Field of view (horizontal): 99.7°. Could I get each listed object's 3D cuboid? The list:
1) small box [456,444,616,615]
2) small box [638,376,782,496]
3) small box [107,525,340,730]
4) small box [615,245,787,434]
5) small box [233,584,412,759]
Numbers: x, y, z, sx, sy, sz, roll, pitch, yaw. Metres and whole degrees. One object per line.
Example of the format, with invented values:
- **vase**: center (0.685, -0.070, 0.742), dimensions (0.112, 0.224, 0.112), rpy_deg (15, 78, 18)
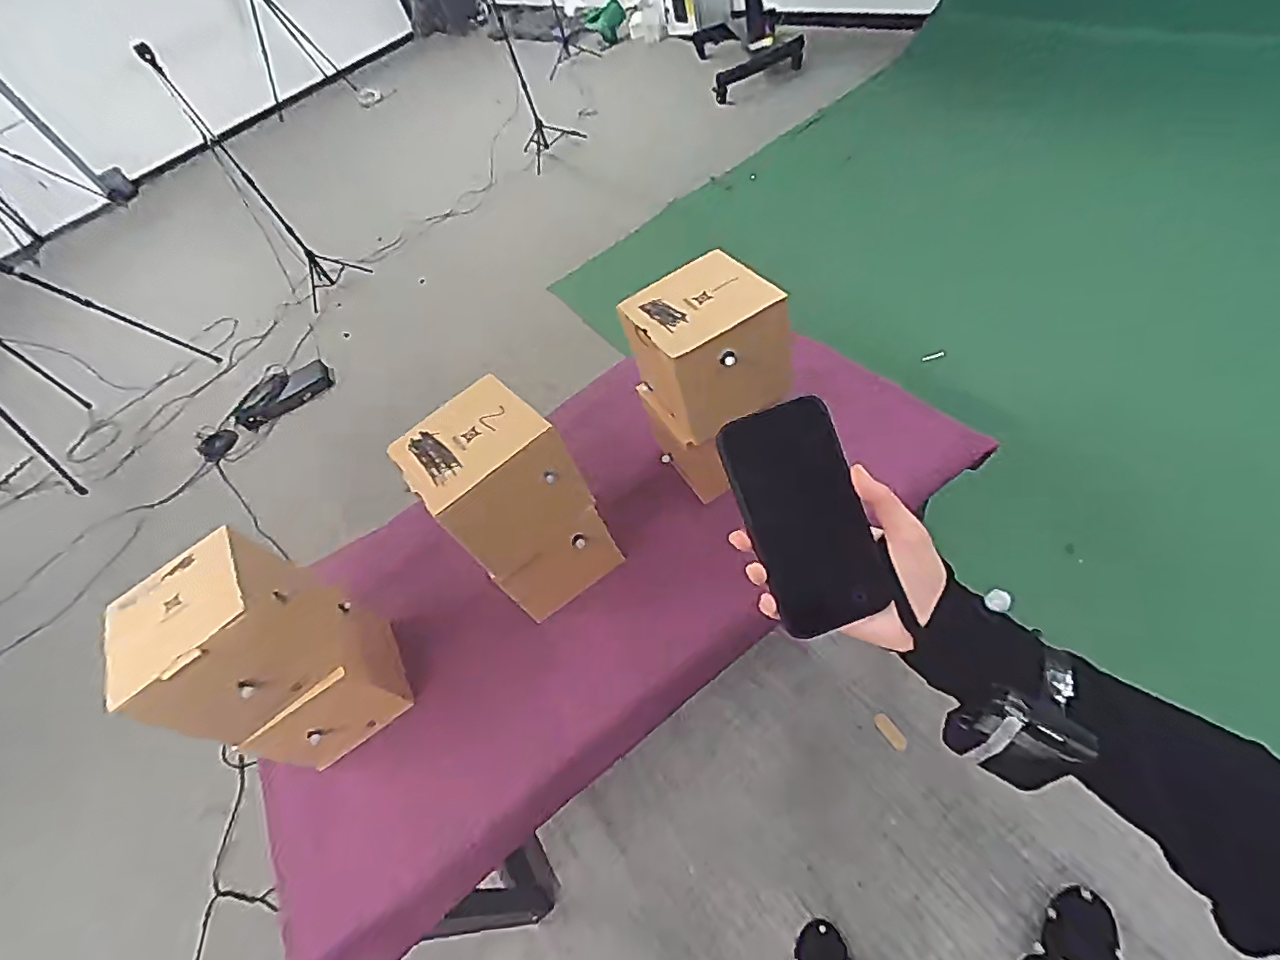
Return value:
- **small box**: center (-0.156, 0.082, 0.869), dimensions (0.179, 0.176, 0.168), rpy_deg (-36, 51, -9)
- **small box**: center (0.124, -0.107, 0.914), dimensions (0.179, 0.176, 0.168), rpy_deg (-31, 50, -4)
- **small box**: center (-0.528, 0.197, 0.701), dimensions (0.168, 0.176, 0.179), rpy_deg (-39, 52, -12)
- **small box**: center (0.094, -0.198, 0.780), dimensions (0.179, 0.176, 0.168), rpy_deg (-31, 50, -6)
- **small box**: center (-0.479, 0.297, 0.823), dimensions (0.168, 0.176, 0.179), rpy_deg (-36, 51, -8)
